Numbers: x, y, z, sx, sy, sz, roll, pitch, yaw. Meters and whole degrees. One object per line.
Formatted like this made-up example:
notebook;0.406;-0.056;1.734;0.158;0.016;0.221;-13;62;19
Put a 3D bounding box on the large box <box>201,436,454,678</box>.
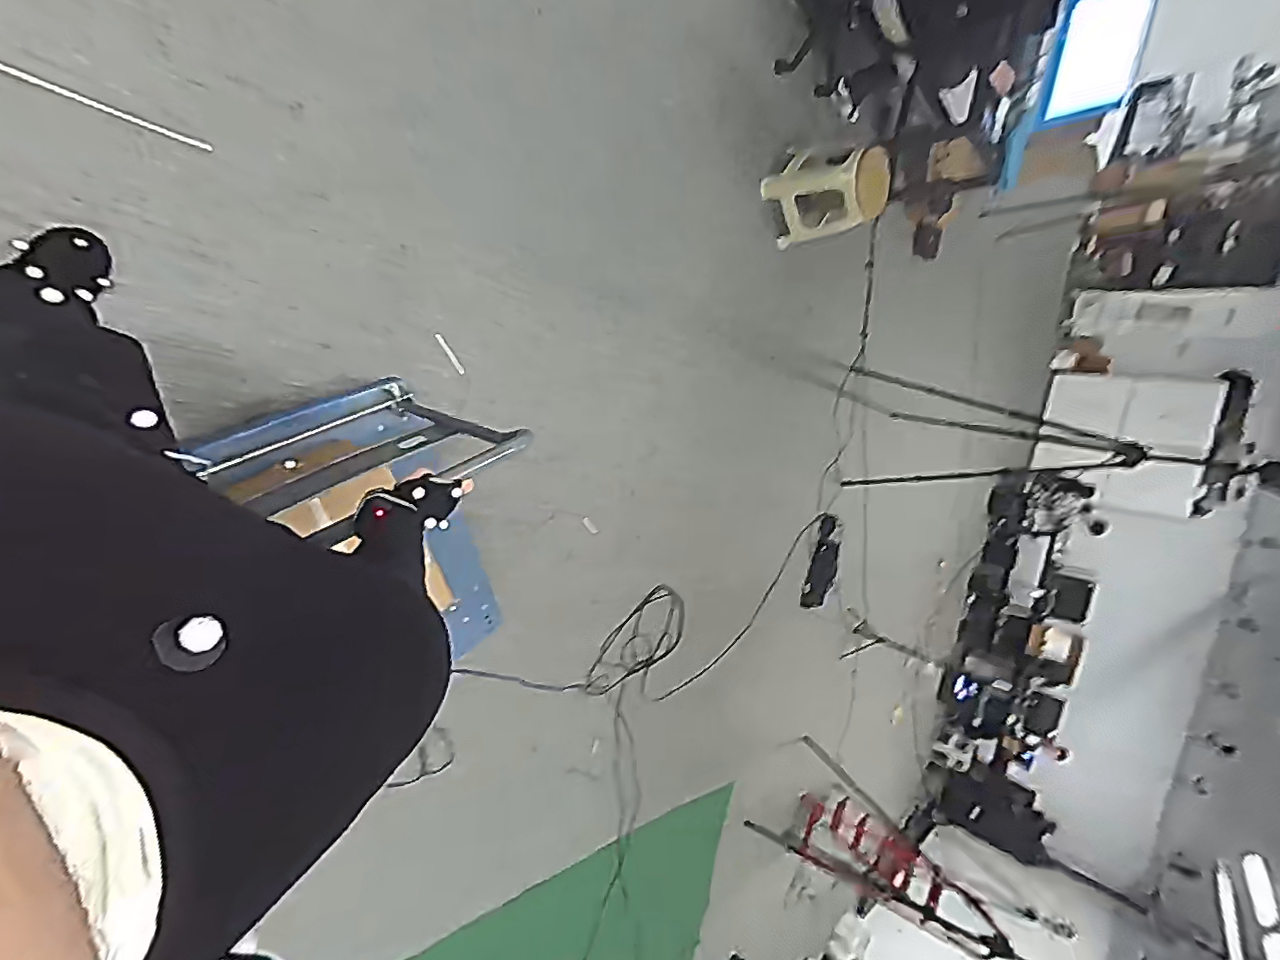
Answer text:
large box;-0.707;0.157;1.250;0.320;0.320;0.408;-35;125;-34
